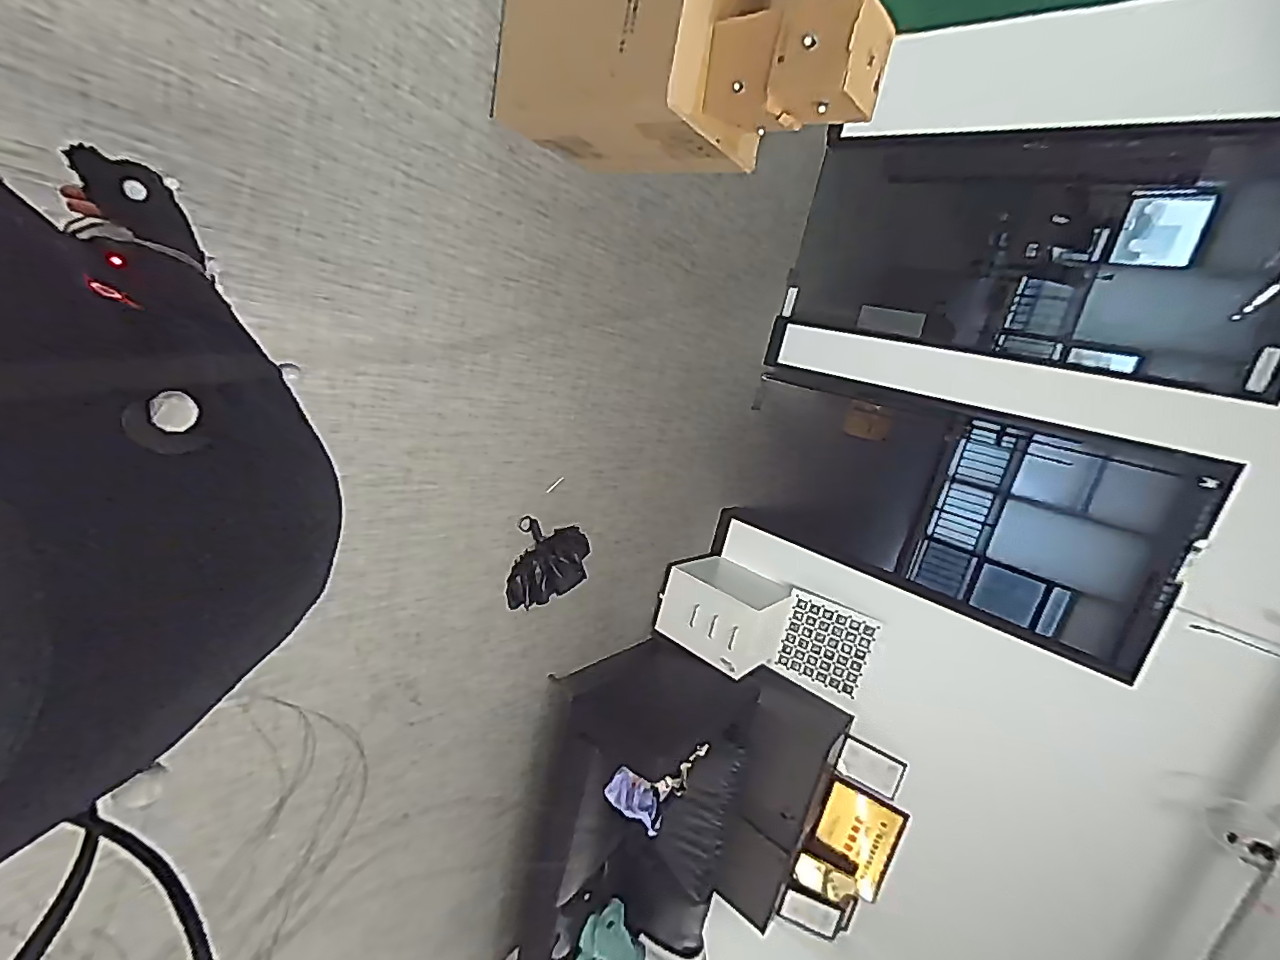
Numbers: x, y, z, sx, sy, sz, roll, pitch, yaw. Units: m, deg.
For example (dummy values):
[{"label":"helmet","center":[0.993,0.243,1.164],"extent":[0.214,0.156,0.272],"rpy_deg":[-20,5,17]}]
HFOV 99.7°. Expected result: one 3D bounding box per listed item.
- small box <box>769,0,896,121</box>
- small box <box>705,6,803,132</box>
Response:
[{"label":"small box","center":[0.385,-0.849,1.095],"extent":[0.179,0.176,0.168],"rpy_deg":[-12,118,-48]},{"label":"small box","center":[0.263,-0.892,1.196],"extent":[0.168,0.176,0.179],"rpy_deg":[-17,121,-47]}]
